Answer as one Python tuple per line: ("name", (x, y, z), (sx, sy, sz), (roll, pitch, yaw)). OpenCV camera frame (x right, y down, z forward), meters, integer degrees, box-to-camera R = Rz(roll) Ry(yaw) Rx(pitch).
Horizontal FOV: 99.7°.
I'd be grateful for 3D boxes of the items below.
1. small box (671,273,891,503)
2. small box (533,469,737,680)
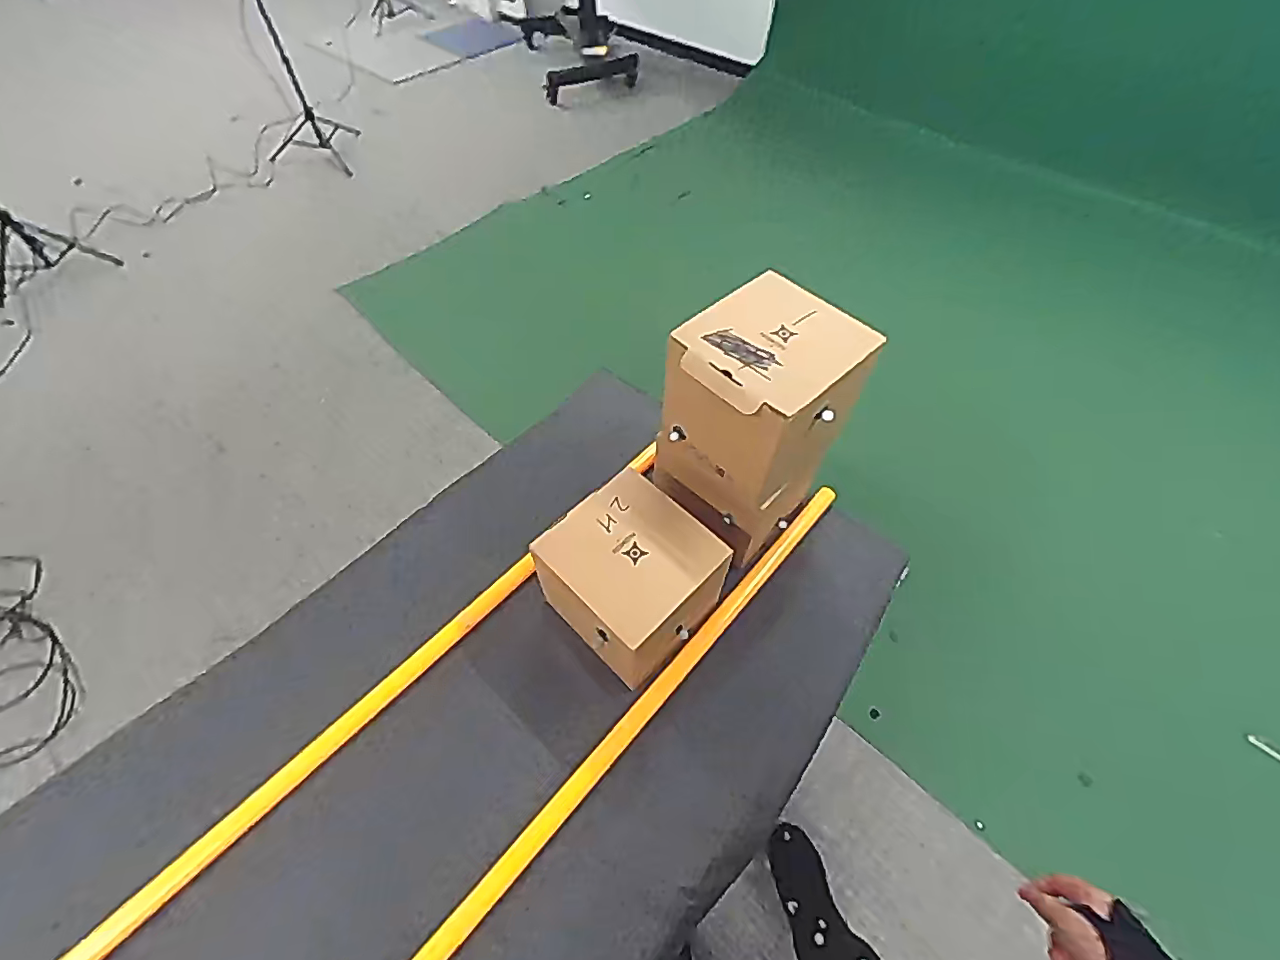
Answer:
("small box", (0.151, -0.104, 0.640), (0.179, 0.176, 0.168), (-37, 64, -24))
("small box", (-0.006, 0.126, 0.679), (0.168, 0.176, 0.179), (-39, 64, -24))
